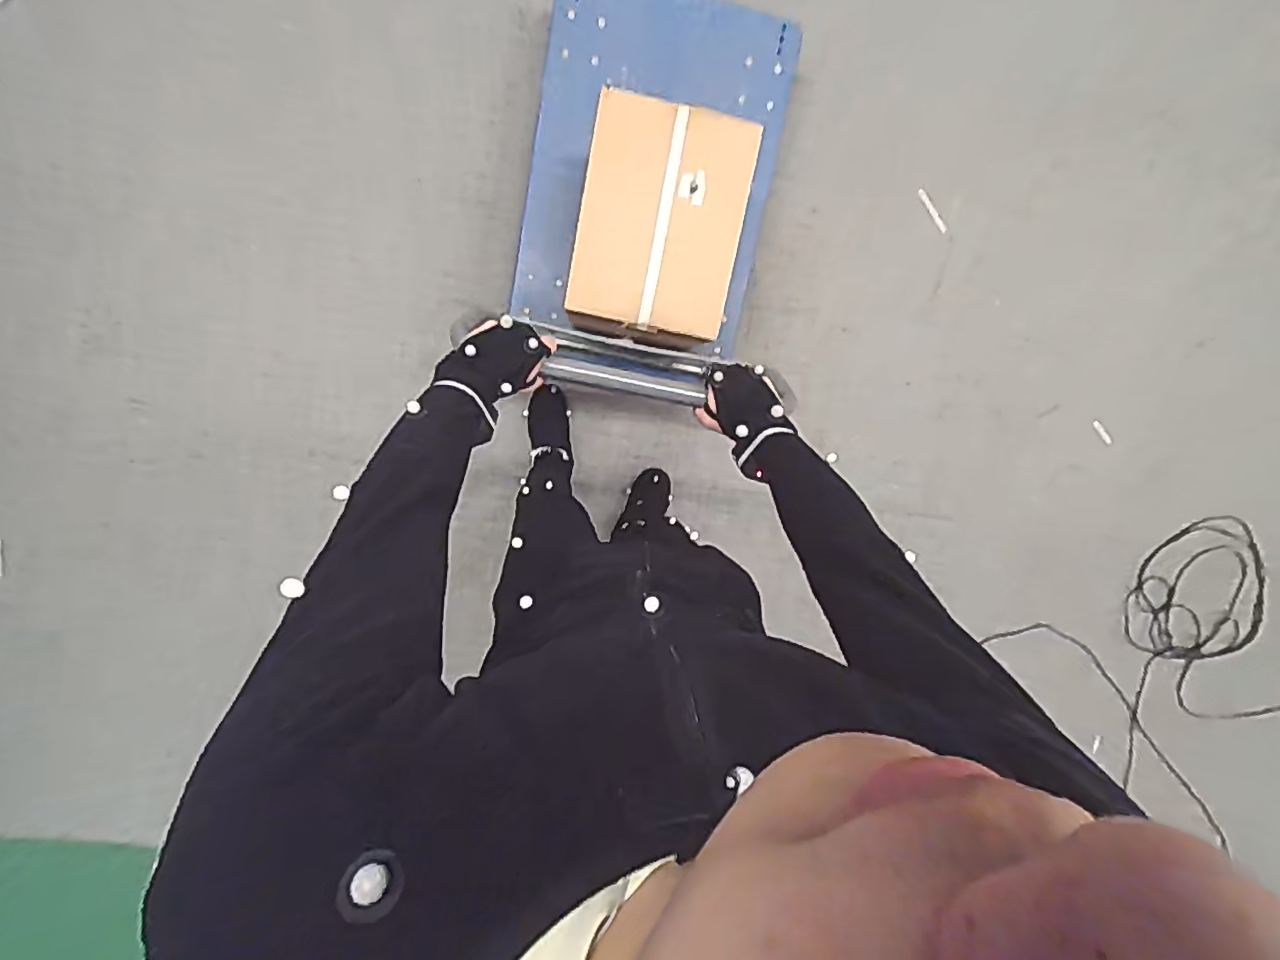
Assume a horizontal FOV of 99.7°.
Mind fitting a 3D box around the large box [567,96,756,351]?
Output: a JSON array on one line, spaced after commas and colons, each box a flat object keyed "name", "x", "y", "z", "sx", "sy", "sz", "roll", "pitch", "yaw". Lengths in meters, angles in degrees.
[{"name": "large box", "x": 0.030, "y": -0.519, "z": 1.190, "sx": 0.320, "sy": 0.320, "sz": 0.408, "roll": 10, "pitch": 98, "yaw": -6}]
